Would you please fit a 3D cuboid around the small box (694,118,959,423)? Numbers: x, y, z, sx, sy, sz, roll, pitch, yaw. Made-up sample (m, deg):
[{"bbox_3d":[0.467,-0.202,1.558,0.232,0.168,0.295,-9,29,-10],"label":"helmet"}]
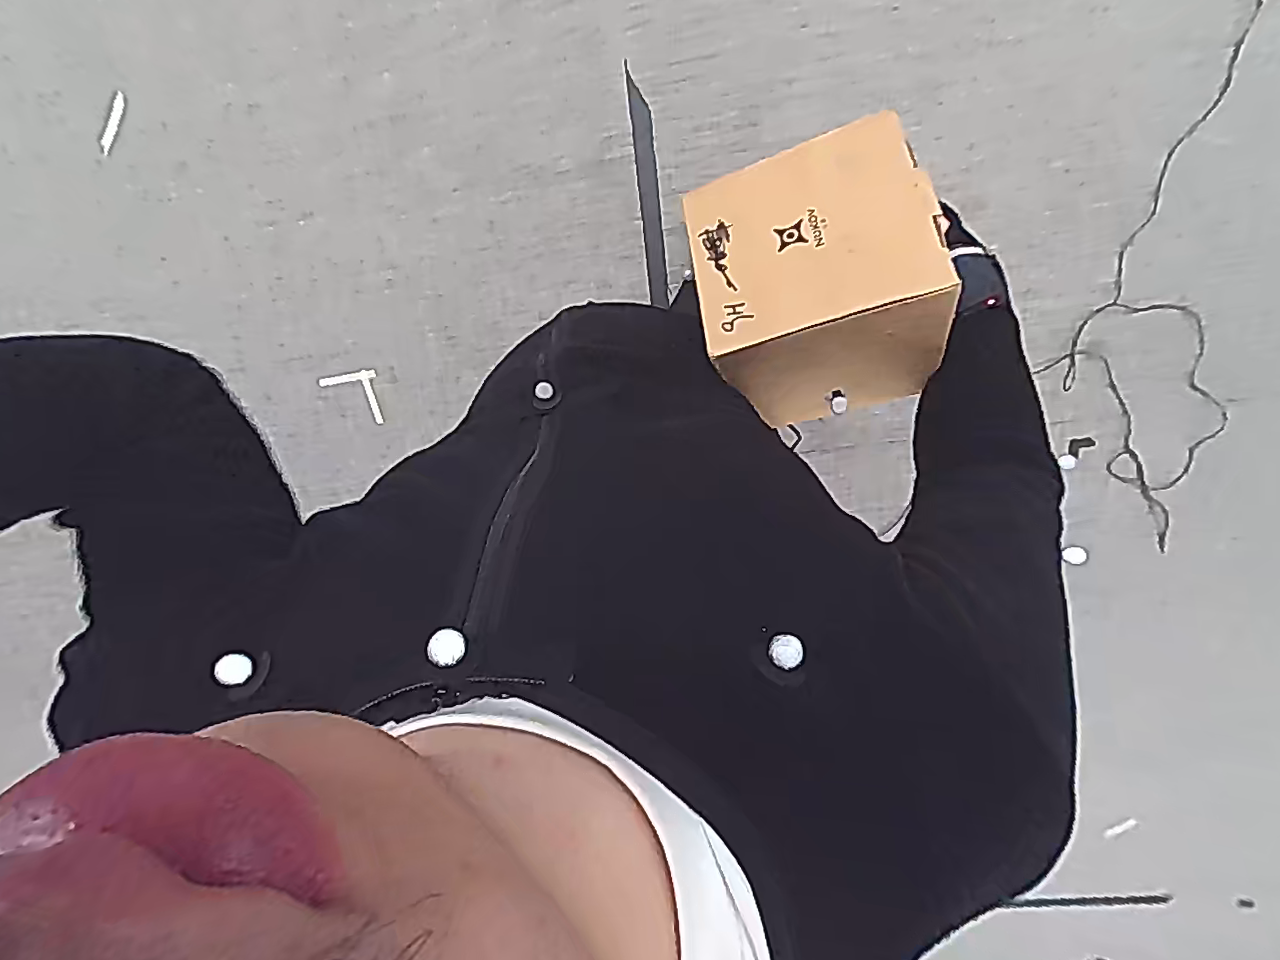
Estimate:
[{"bbox_3d":[0.163,-0.171,0.497,0.179,0.176,0.168,-12,69,19],"label":"small box"}]
